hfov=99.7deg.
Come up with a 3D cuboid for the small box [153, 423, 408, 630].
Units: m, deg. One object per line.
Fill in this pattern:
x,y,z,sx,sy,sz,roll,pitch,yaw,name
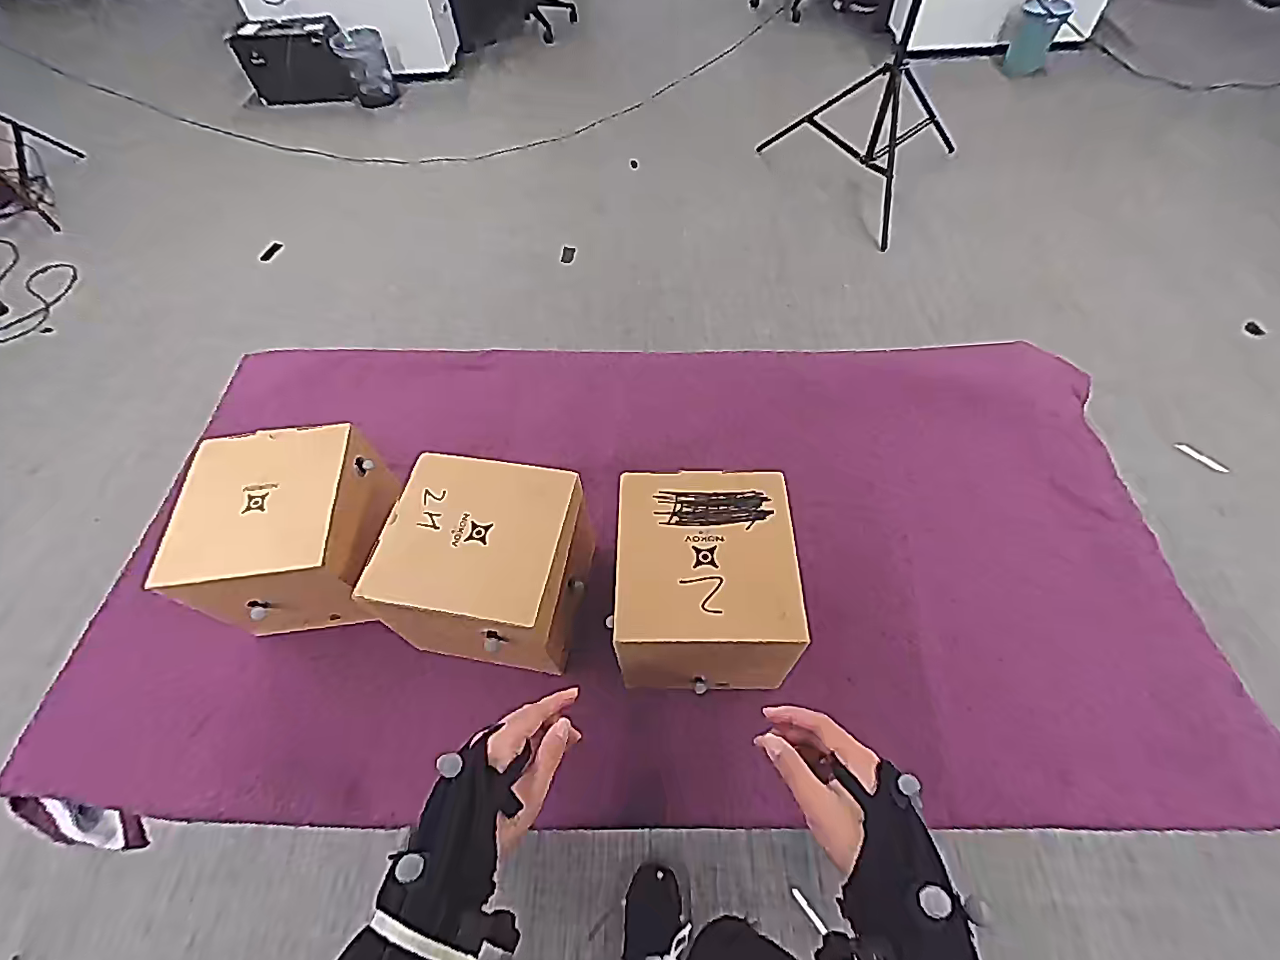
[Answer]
-0.386,0.062,0.622,0.168,0.176,0.179,-8,57,-2,small box
